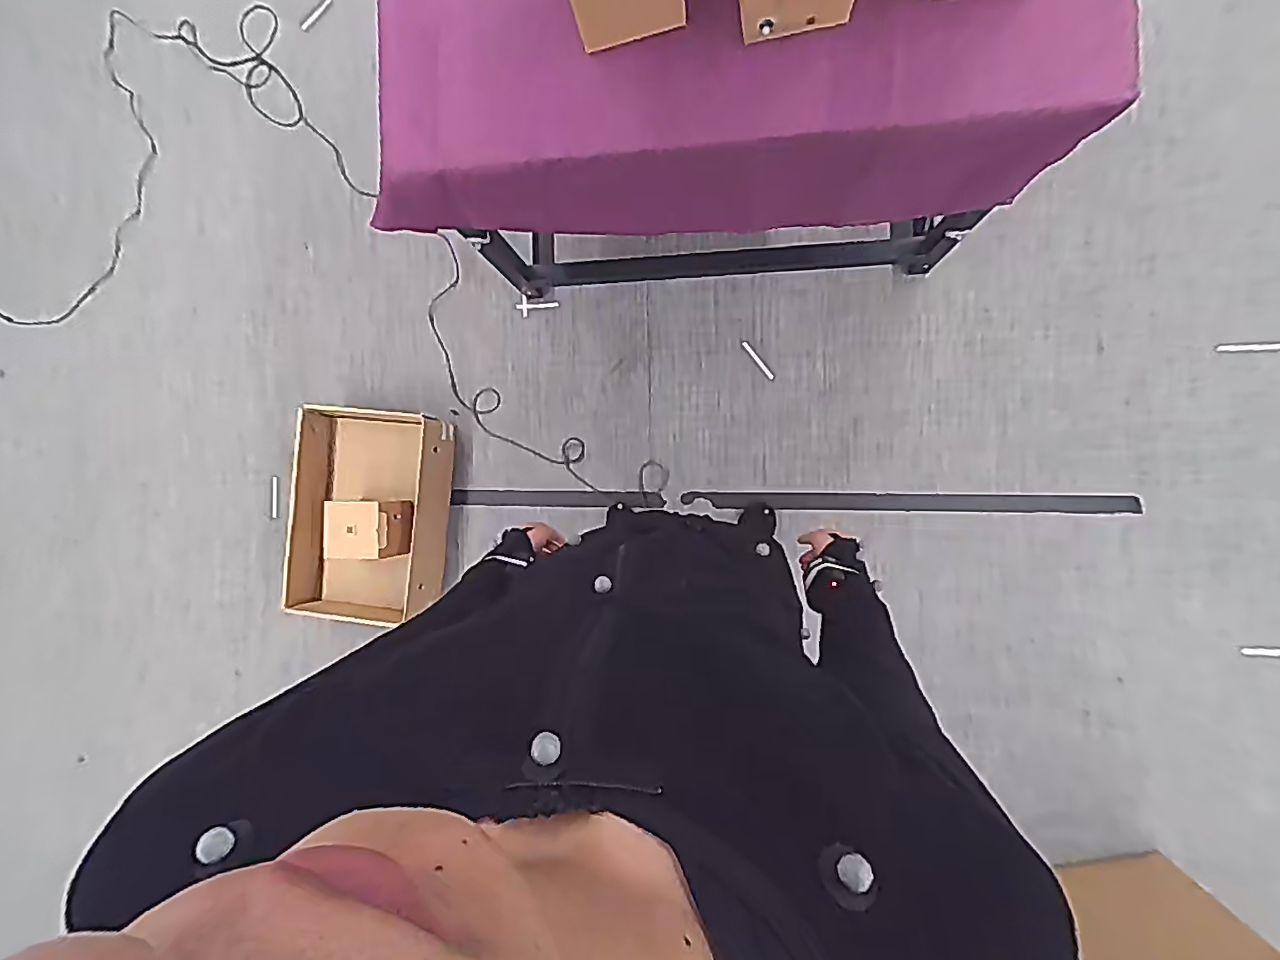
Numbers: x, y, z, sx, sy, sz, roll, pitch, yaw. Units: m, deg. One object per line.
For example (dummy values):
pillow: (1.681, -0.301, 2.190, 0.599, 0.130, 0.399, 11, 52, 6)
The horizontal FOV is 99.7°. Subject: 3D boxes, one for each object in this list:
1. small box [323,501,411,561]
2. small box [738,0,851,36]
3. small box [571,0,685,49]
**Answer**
small box: (-0.806, 0.147, 1.611, 0.179, 0.176, 0.168, 0, 88, 8)
small box: (0.231, -0.803, 0.796, 0.168, 0.176, 0.179, -6, 88, 7)
small box: (-0.032, -0.816, 0.830, 0.179, 0.176, 0.168, -10, 89, 7)
